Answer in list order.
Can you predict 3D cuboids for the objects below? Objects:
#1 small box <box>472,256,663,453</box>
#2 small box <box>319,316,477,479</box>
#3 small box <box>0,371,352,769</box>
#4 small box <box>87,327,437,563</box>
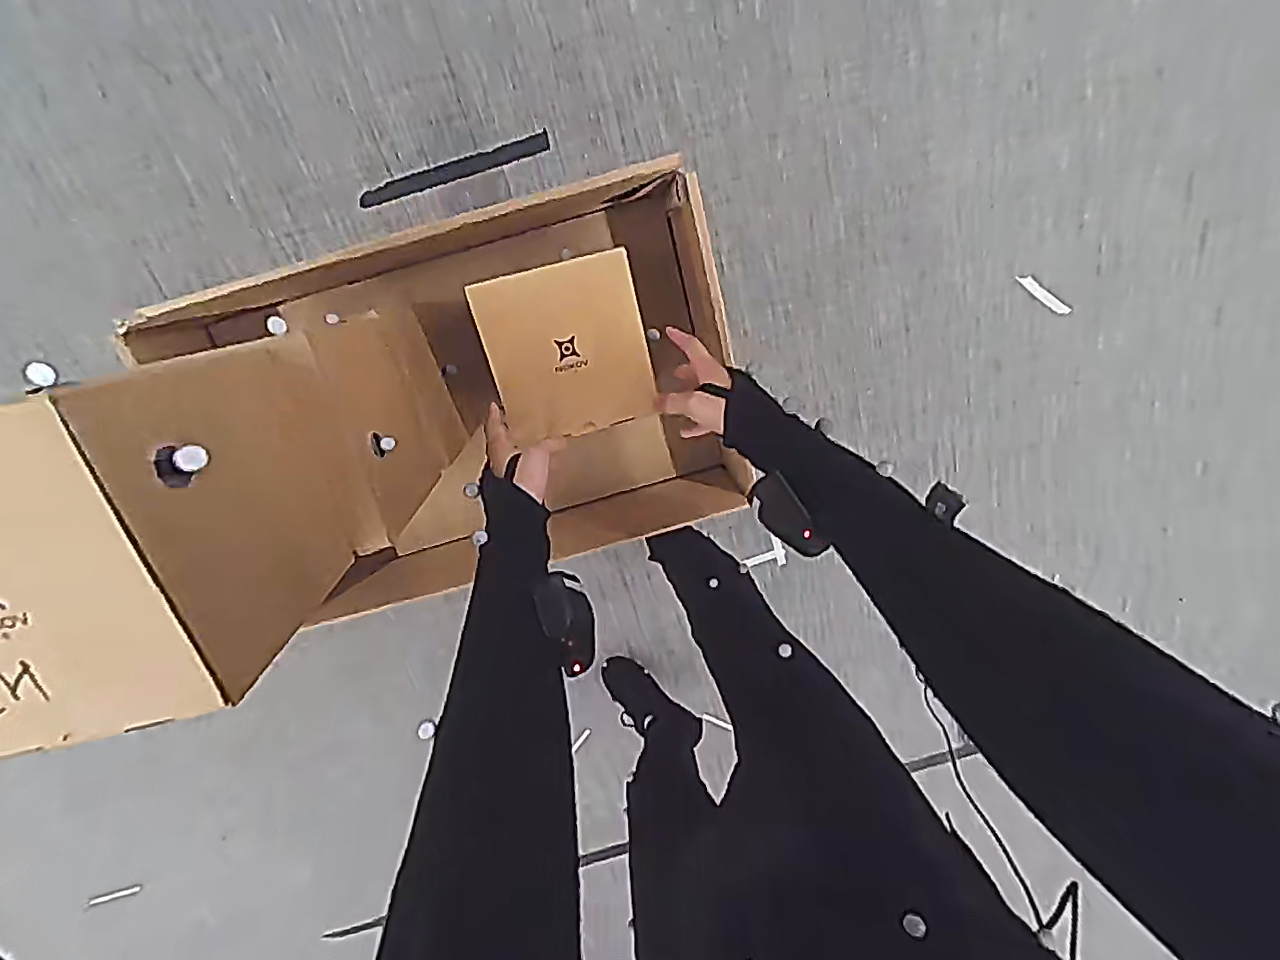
[{"bbox_3d":[-0.080,-0.153,0.640,0.168,0.176,0.179,-14,112,0],"label":"small box"},{"bbox_3d":[-0.314,-0.086,0.639,0.168,0.176,0.179,-18,110,2],"label":"small box"},{"bbox_3d":[-0.314,0.036,0.332,0.168,0.176,0.179,-11,112,-2],"label":"small box"},{"bbox_3d":[-0.302,-0.029,0.485,0.168,0.176,0.179,-13,111,-2],"label":"small box"}]
